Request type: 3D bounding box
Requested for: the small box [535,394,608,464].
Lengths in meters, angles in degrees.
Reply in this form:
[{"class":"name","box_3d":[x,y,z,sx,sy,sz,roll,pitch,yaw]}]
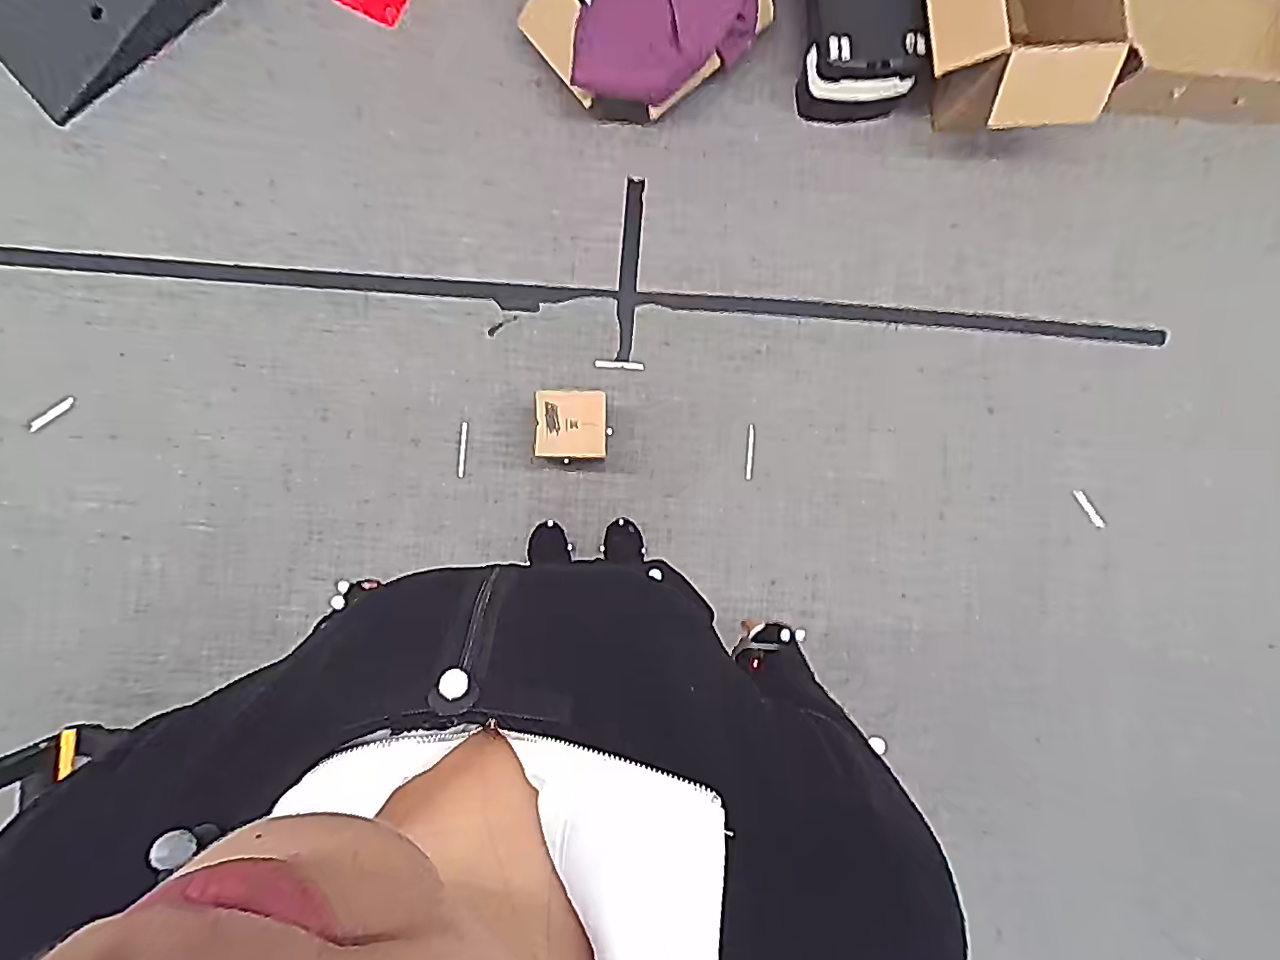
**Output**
[{"class":"small box","box_3d":[-0.174,-0.128,1.418,0.179,0.176,0.168,1,89,-3]}]
